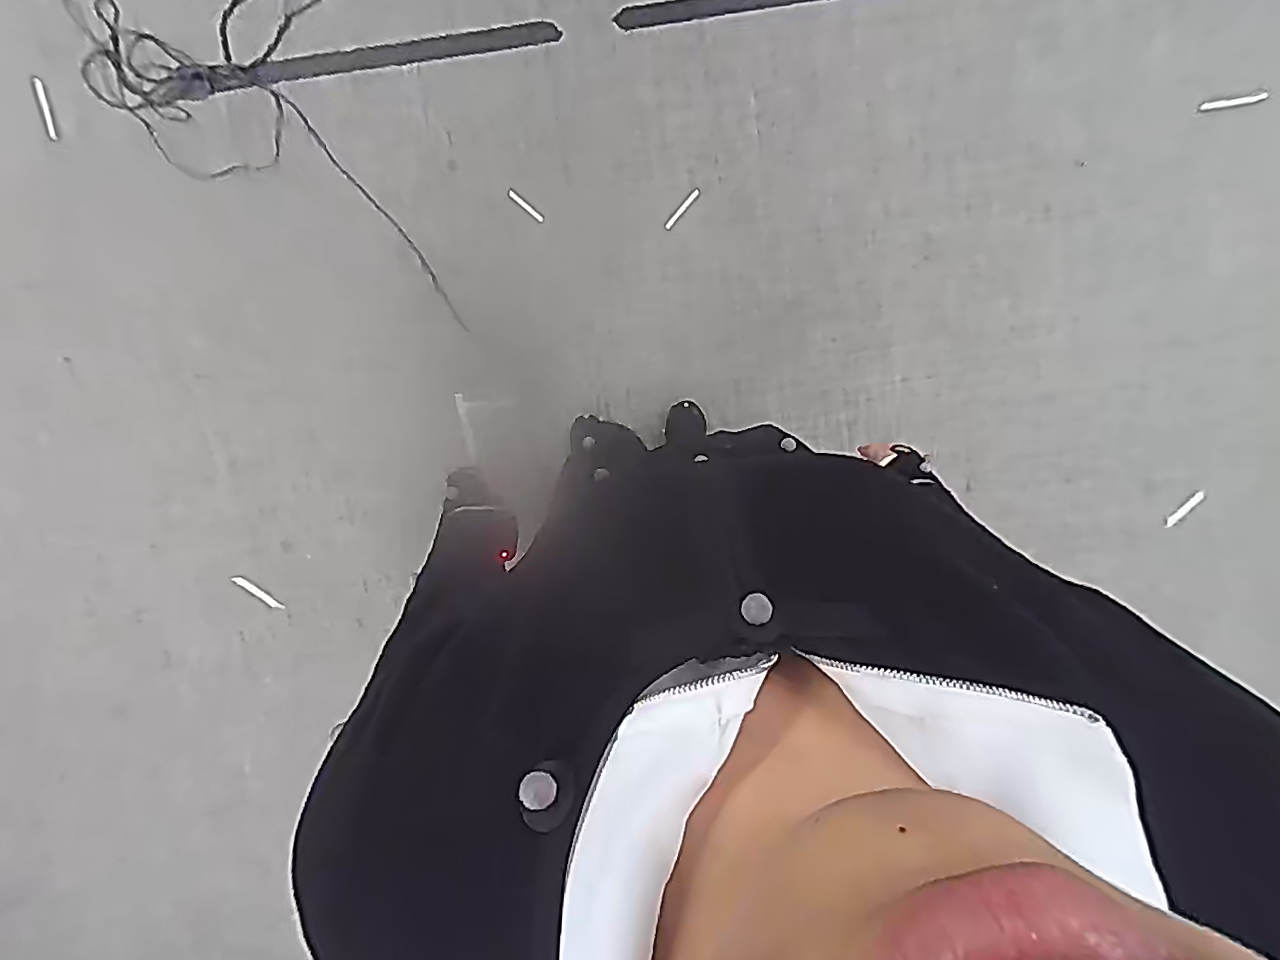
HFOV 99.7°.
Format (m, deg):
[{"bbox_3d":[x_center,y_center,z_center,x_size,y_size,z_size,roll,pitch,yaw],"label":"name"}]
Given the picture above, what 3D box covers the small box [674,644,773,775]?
[{"bbox_3d":[0.167,0.467,1.119,0.168,0.176,0.179,-11,99,3],"label":"small box"}]
